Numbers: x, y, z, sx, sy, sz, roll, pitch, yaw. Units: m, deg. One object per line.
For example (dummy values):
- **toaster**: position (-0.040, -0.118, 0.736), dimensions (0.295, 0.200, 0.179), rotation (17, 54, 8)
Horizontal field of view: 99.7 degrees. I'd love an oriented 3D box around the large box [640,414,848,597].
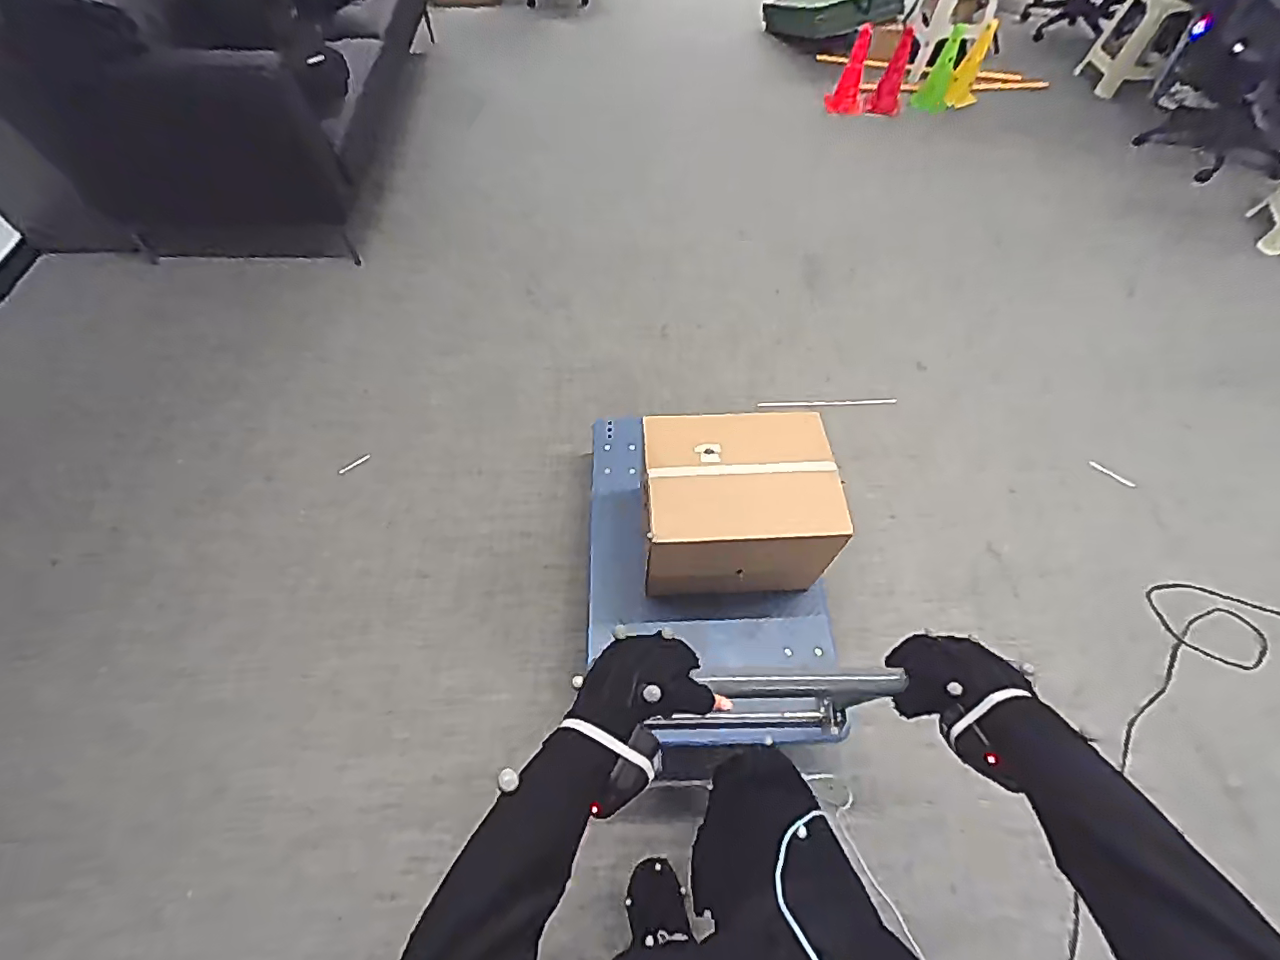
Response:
- **large box**: position (0.213, 0.070, 1.282), dimensions (0.408, 0.320, 0.320), rotation (-4, 58, -2)
